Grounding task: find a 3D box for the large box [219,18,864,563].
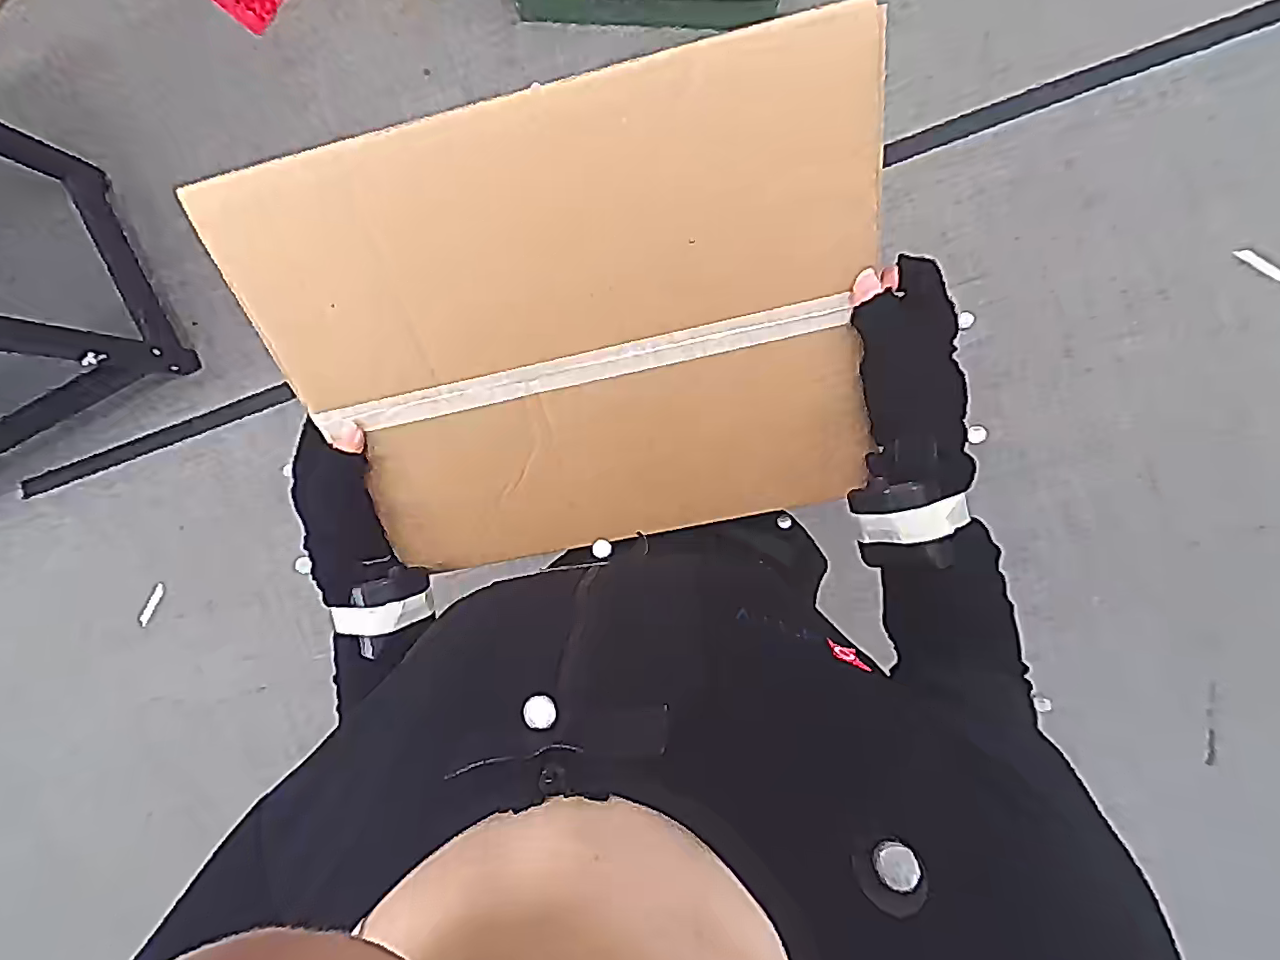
[{"bbox_3d":[-0.040,-0.168,0.518,0.408,0.320,0.320,-11,122,7],"label":"large box"}]
